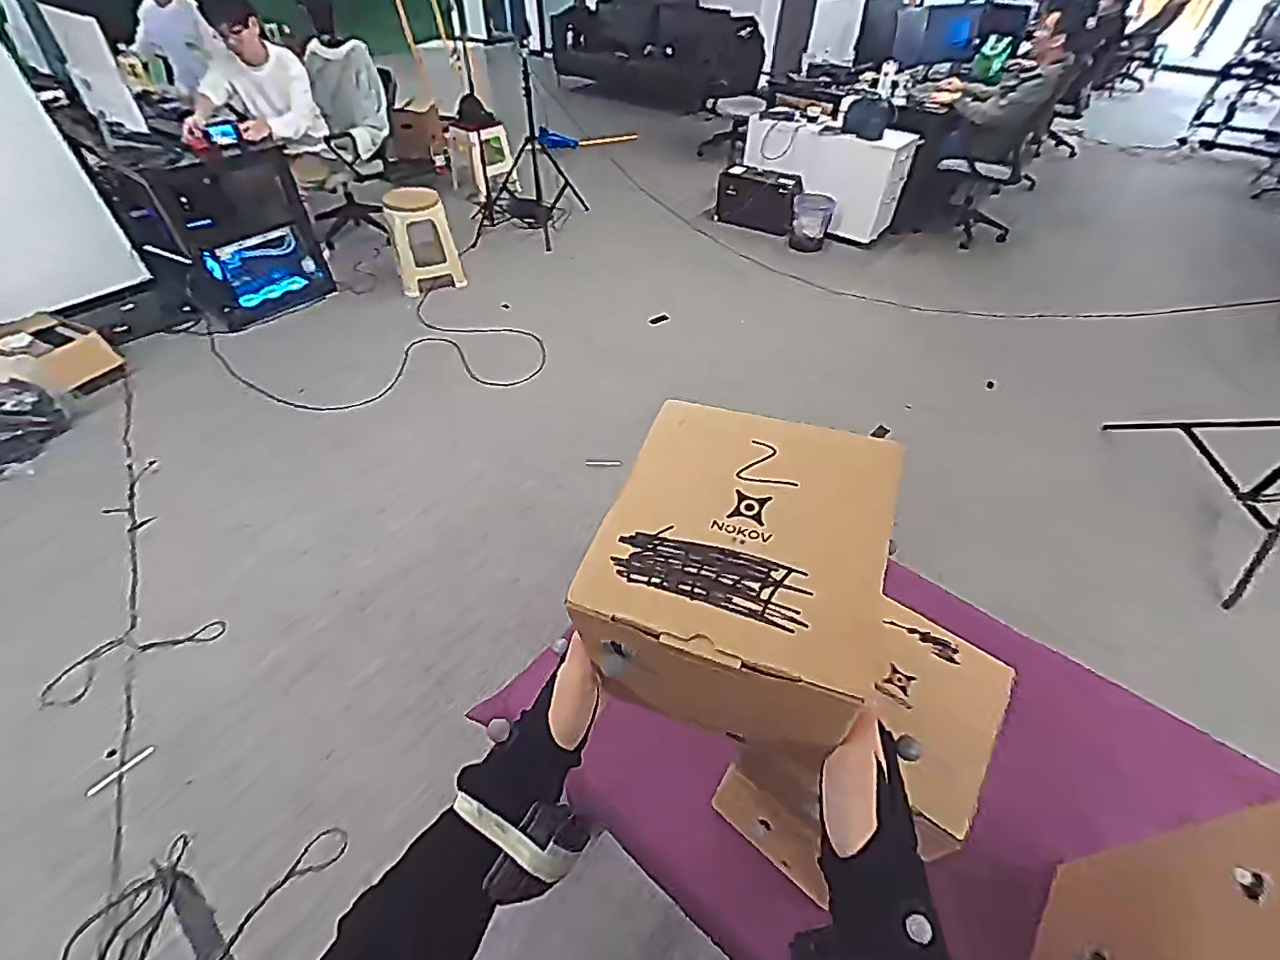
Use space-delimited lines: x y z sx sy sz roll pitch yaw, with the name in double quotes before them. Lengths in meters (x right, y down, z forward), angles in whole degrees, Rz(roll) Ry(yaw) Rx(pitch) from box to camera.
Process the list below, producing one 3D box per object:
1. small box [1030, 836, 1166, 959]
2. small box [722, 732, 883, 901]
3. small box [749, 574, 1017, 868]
"small box" 0.514 0.496 0.519 0.168 0.176 0.179 35 54 27
"small box" 0.213 0.354 0.645 0.168 0.176 0.179 33 52 26
"small box" 0.222 0.236 0.531 0.168 0.176 0.179 31 52 24
